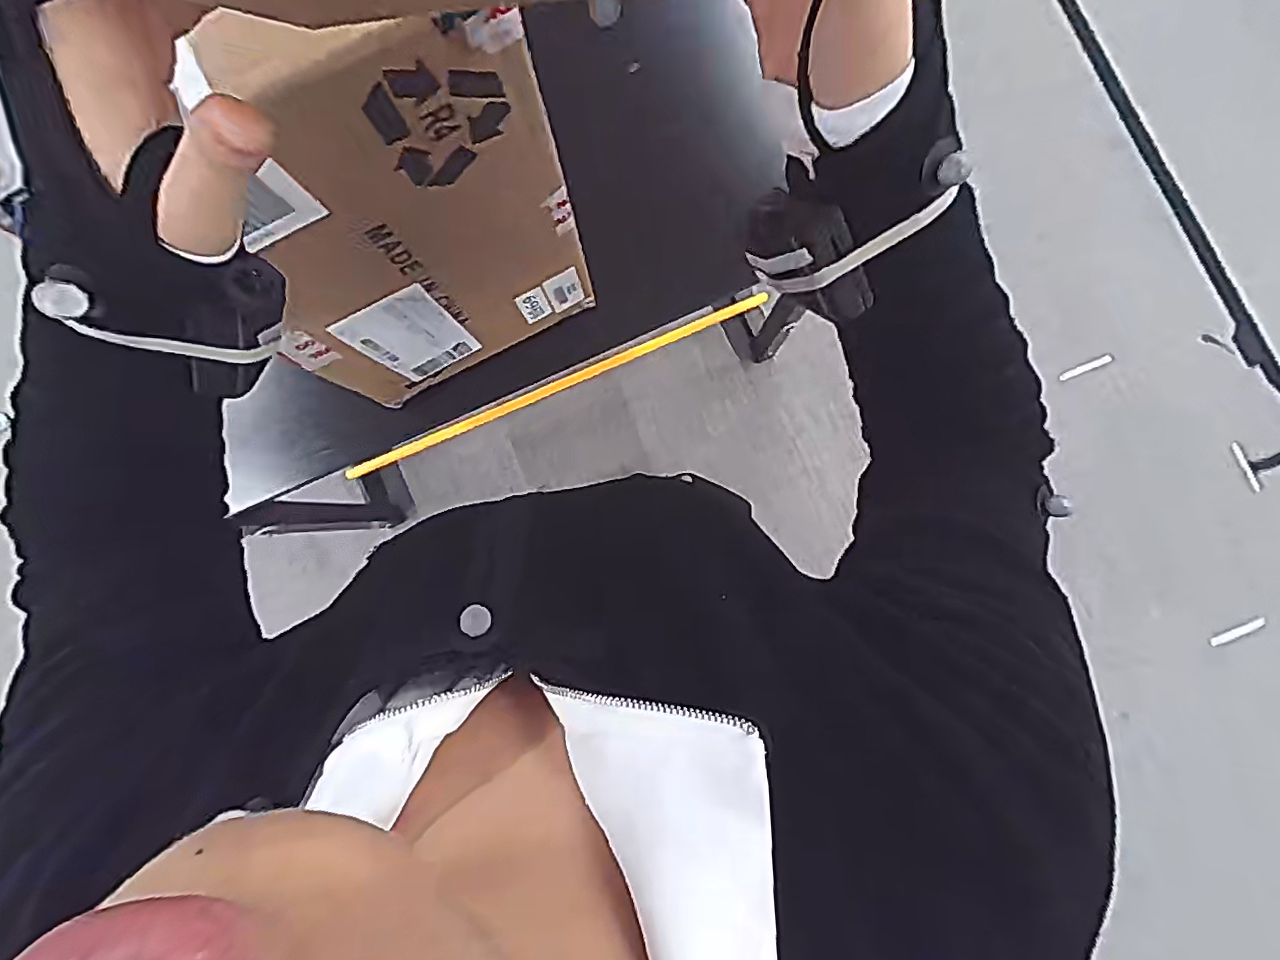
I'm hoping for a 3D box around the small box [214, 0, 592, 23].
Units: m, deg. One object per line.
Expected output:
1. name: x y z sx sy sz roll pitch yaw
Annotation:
1. small box: -0.061 -0.244 0.147 0.179 0.176 0.168 -10 127 -4
